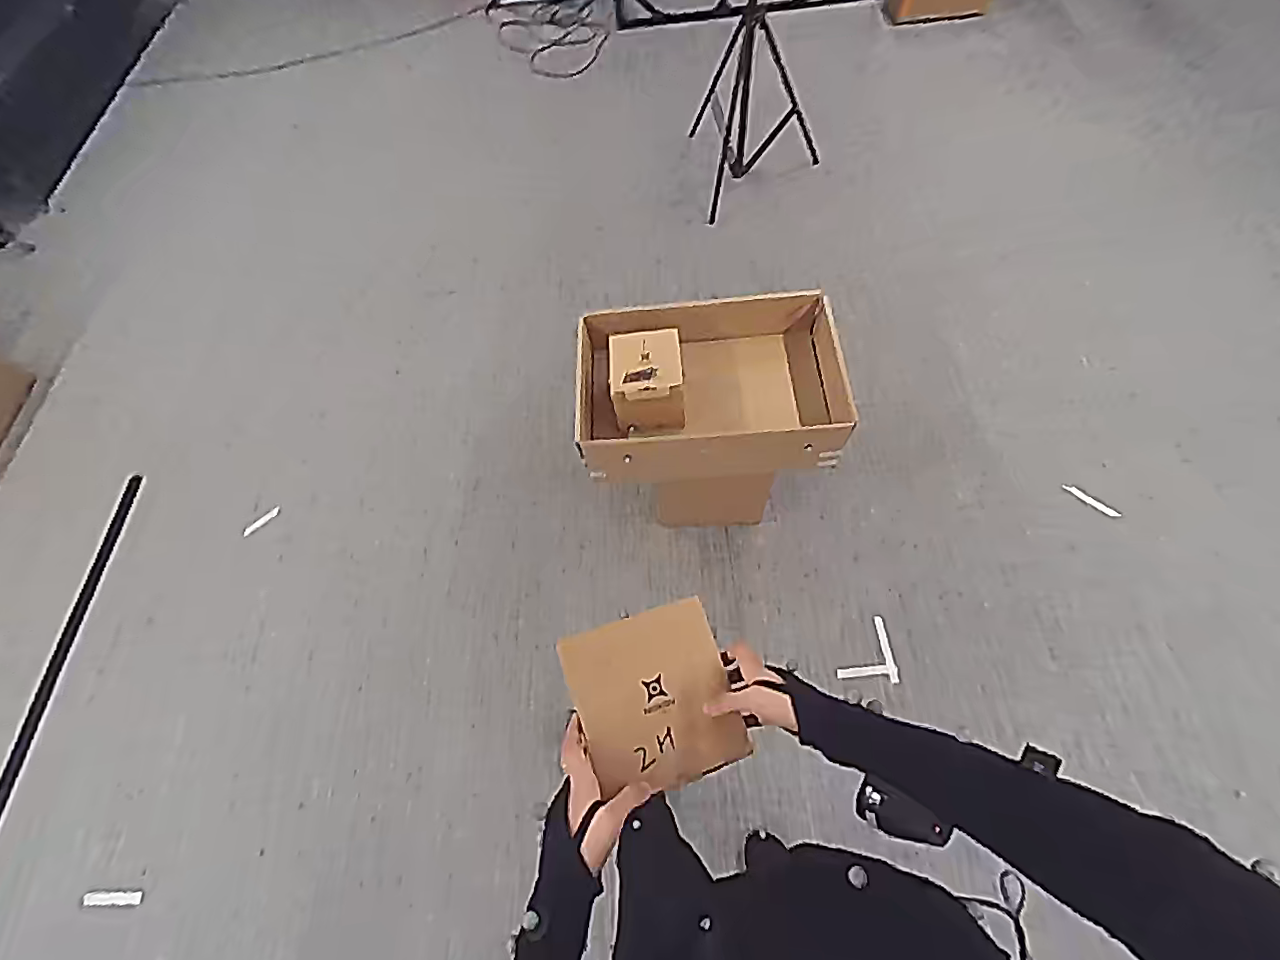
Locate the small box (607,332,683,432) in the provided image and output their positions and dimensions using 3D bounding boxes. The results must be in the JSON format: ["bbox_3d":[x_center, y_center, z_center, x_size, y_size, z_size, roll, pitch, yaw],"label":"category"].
[{"bbox_3d":[0.015,-0.229,1.312,0.168,0.176,0.179,-5,62,4],"label":"small box"}]

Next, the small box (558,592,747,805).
[{"bbox_3d":[0.000,0.252,0.648,0.168,0.176,0.179,-15,73,-13],"label":"small box"}]
